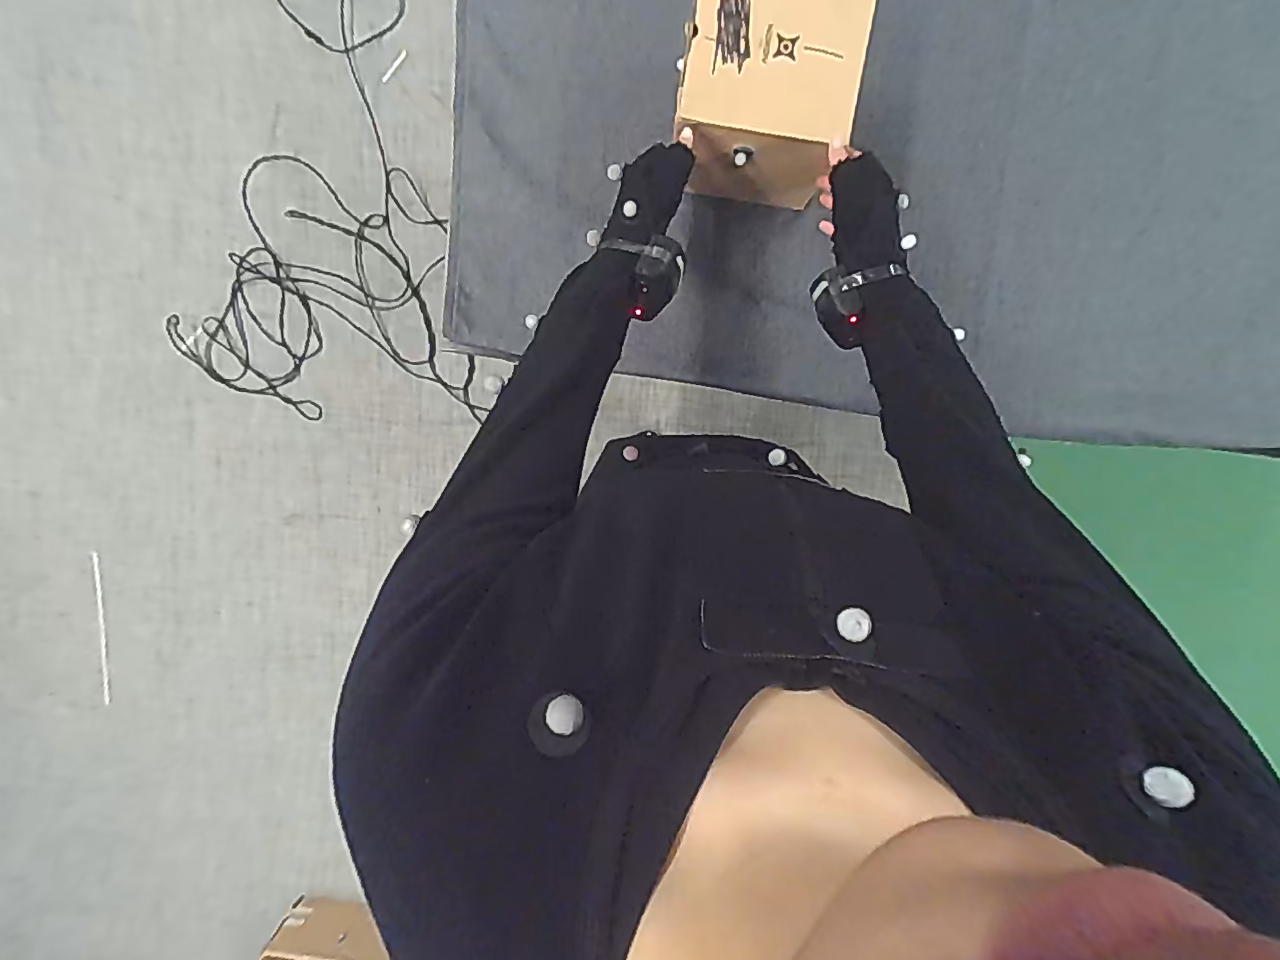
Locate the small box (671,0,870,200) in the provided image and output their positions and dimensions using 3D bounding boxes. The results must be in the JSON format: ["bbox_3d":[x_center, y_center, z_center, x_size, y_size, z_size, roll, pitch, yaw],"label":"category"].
[{"bbox_3d":[0.134,-0.442,0.613,0.179,0.176,0.168,9,97,-1],"label":"small box"}]
